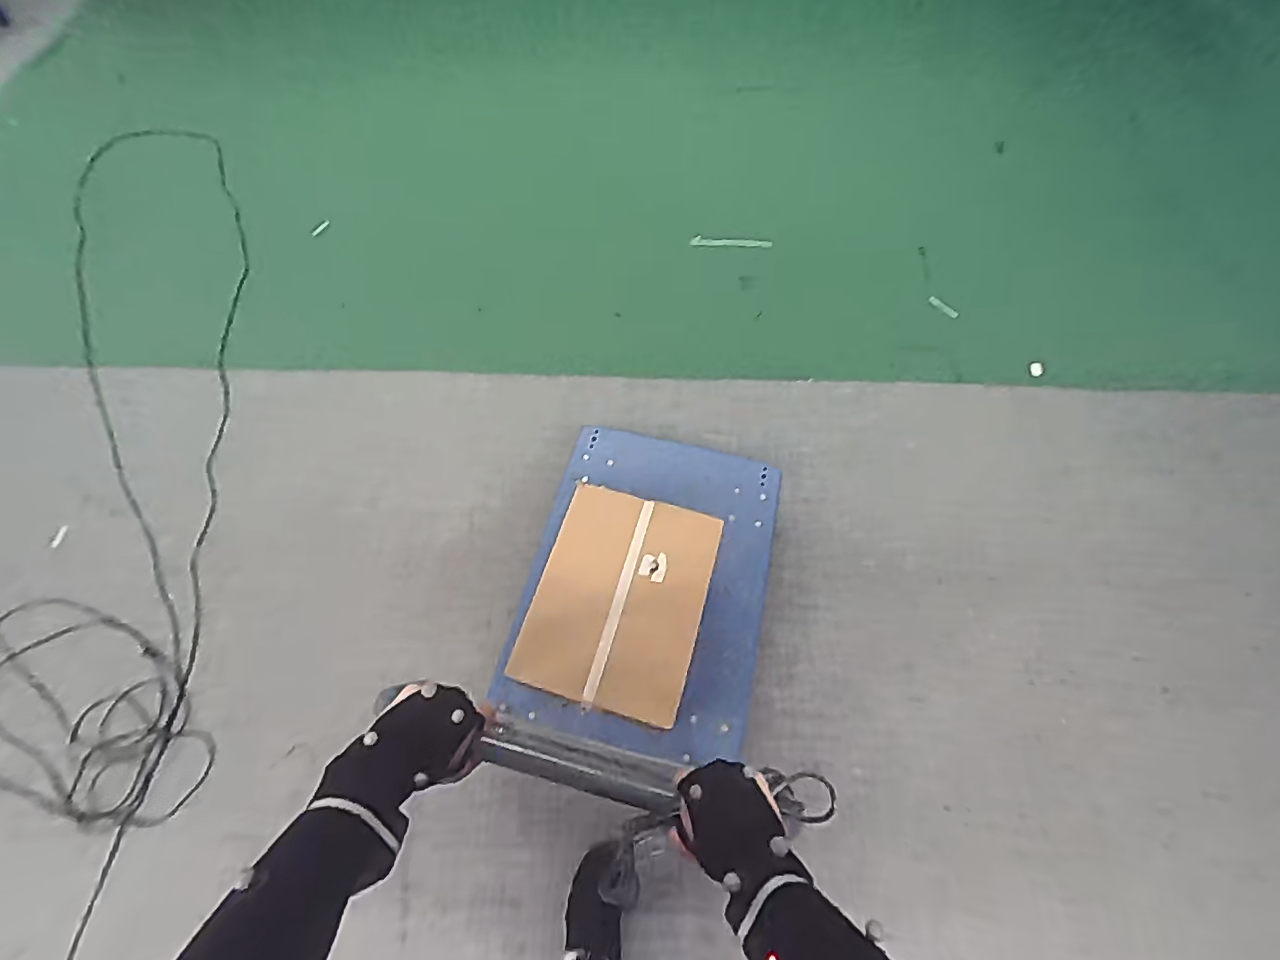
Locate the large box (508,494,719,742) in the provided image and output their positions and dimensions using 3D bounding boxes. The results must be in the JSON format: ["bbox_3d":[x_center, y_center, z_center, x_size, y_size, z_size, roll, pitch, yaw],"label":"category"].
[{"bbox_3d":[-0.037,0.303,1.158,0.320,0.320,0.408,15,63,7],"label":"large box"}]
